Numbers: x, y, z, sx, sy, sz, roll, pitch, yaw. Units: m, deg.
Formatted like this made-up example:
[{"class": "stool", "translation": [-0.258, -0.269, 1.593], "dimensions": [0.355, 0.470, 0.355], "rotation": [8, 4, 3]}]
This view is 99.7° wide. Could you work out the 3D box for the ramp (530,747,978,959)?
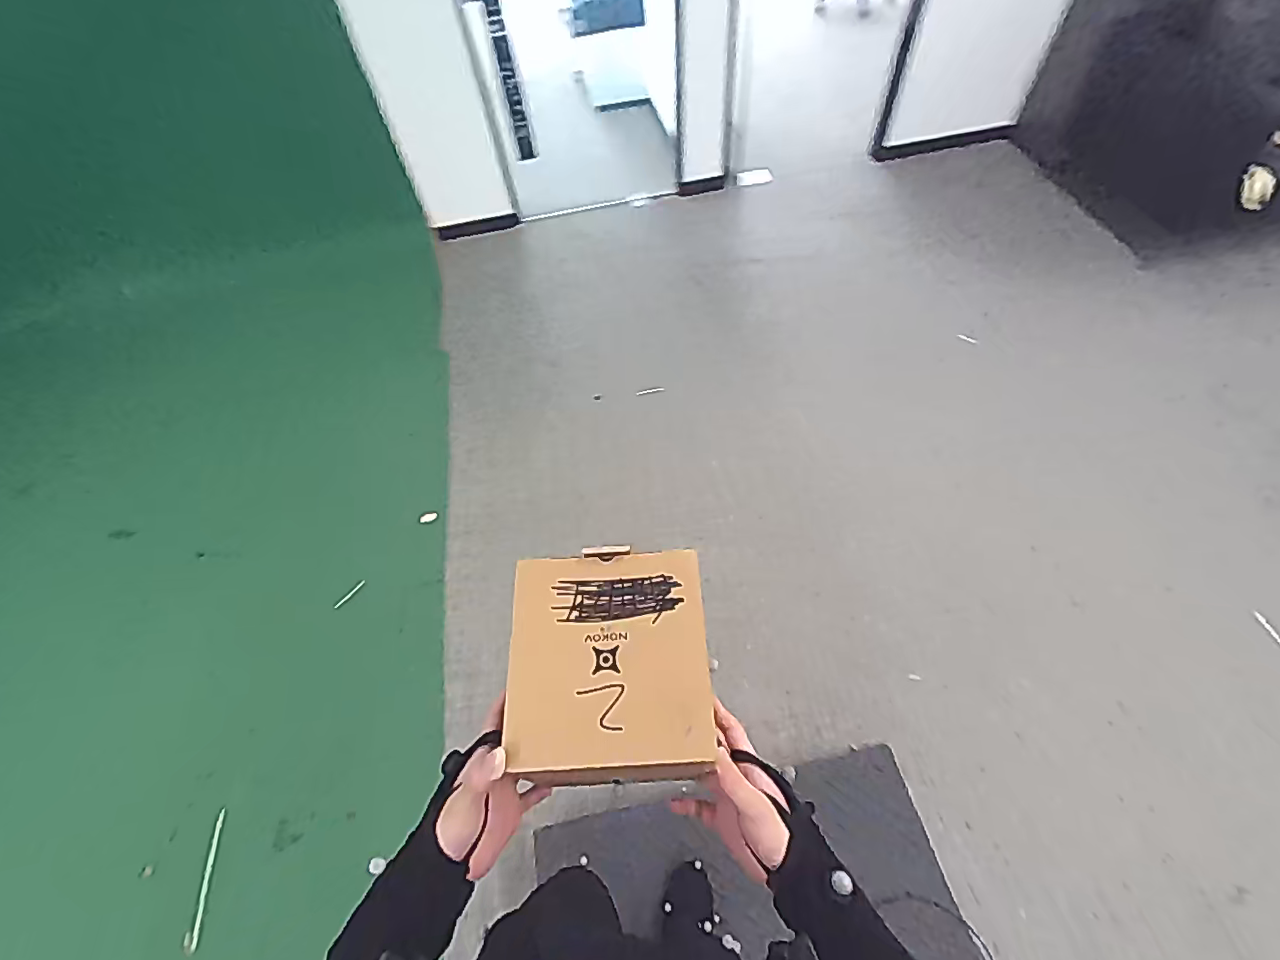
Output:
[{"class": "ramp", "translation": [0.261, 1.002, 1.295], "dimensions": [0.991, 0.206, 0.509], "rotation": [-14, 56, -5]}]
